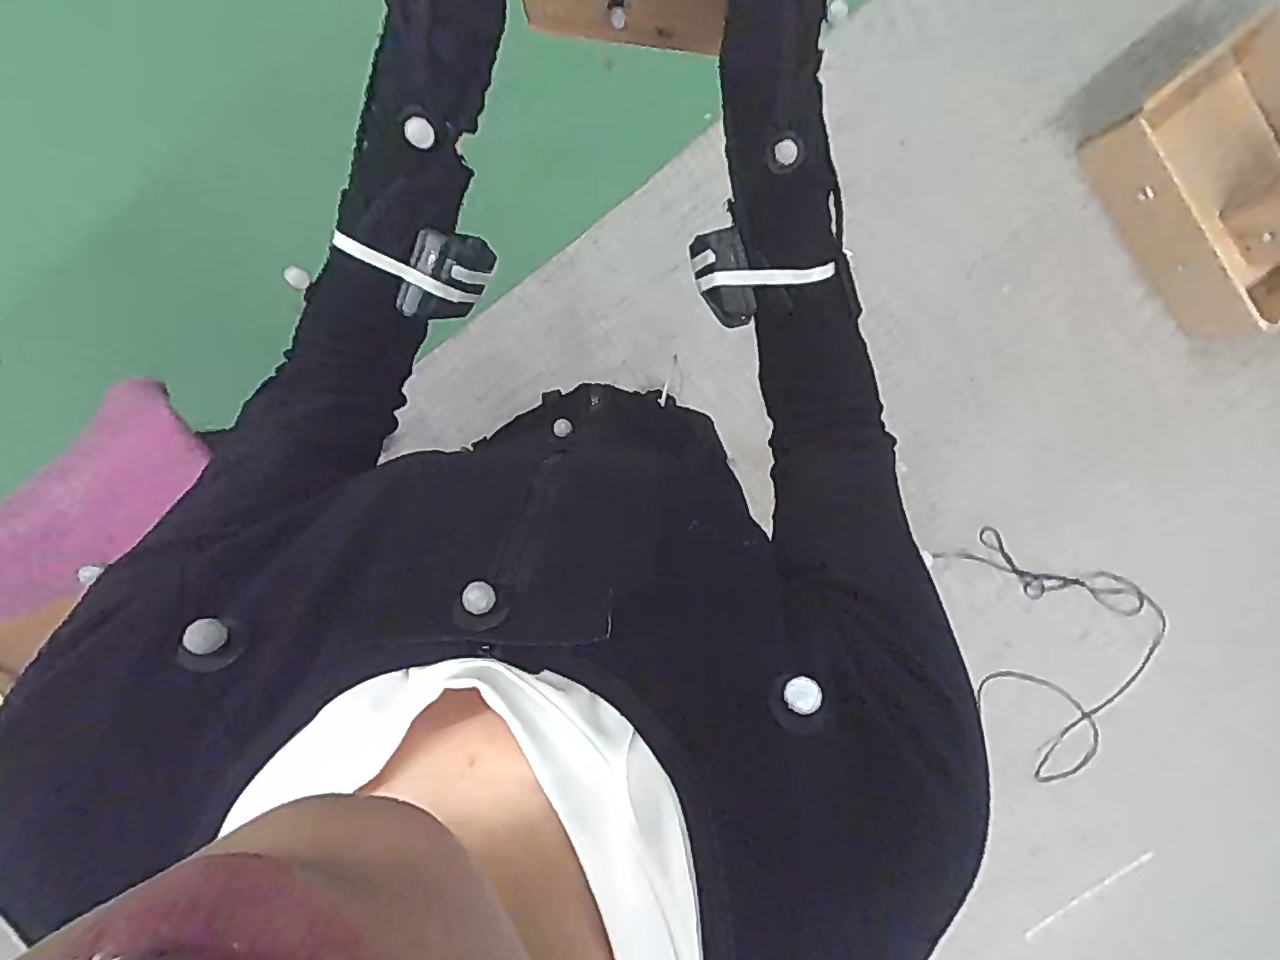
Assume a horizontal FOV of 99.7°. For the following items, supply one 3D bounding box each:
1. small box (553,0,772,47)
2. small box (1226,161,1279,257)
[{"bbox_3d":[0.020,-0.408,0.323,0.168,0.176,0.179,5,110,-5],"label":"small box"},{"bbox_3d":[1.566,-0.663,1.280,0.179,0.176,0.168,-43,96,5],"label":"small box"}]
